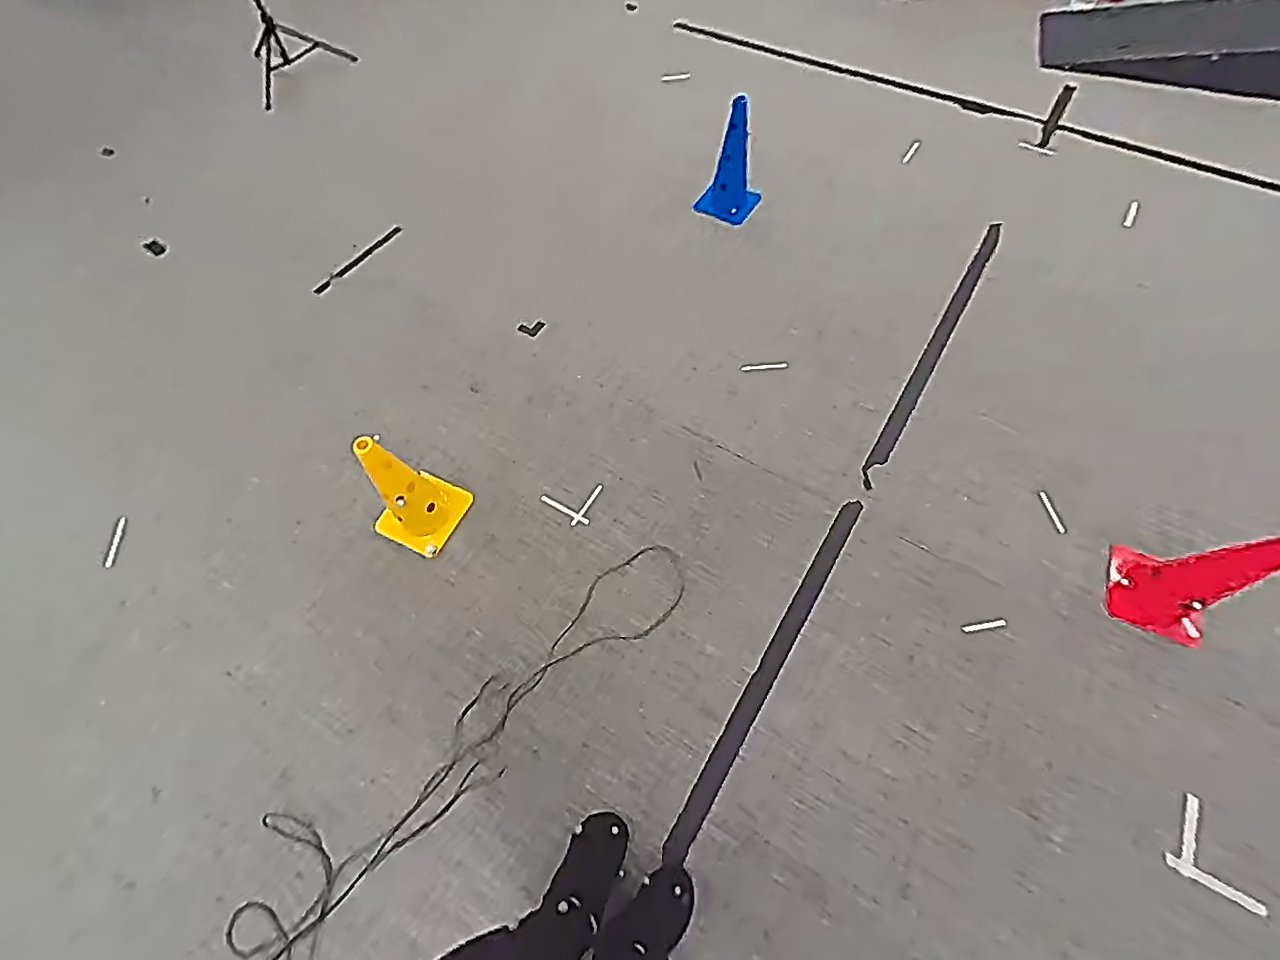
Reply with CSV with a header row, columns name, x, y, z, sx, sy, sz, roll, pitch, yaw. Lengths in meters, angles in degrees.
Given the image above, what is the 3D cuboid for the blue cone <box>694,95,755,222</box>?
name,x,y,z,sx,sy,sz,roll,pitch,yaw
blue cone,0.311,-1.116,1.873,0.192,0.380,0.193,29,67,17

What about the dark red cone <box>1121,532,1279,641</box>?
name,x,y,z,sx,sy,sz,roll,pitch,yaw
dark red cone,1.239,0.182,1.128,0.201,0.394,0.202,21,65,14
